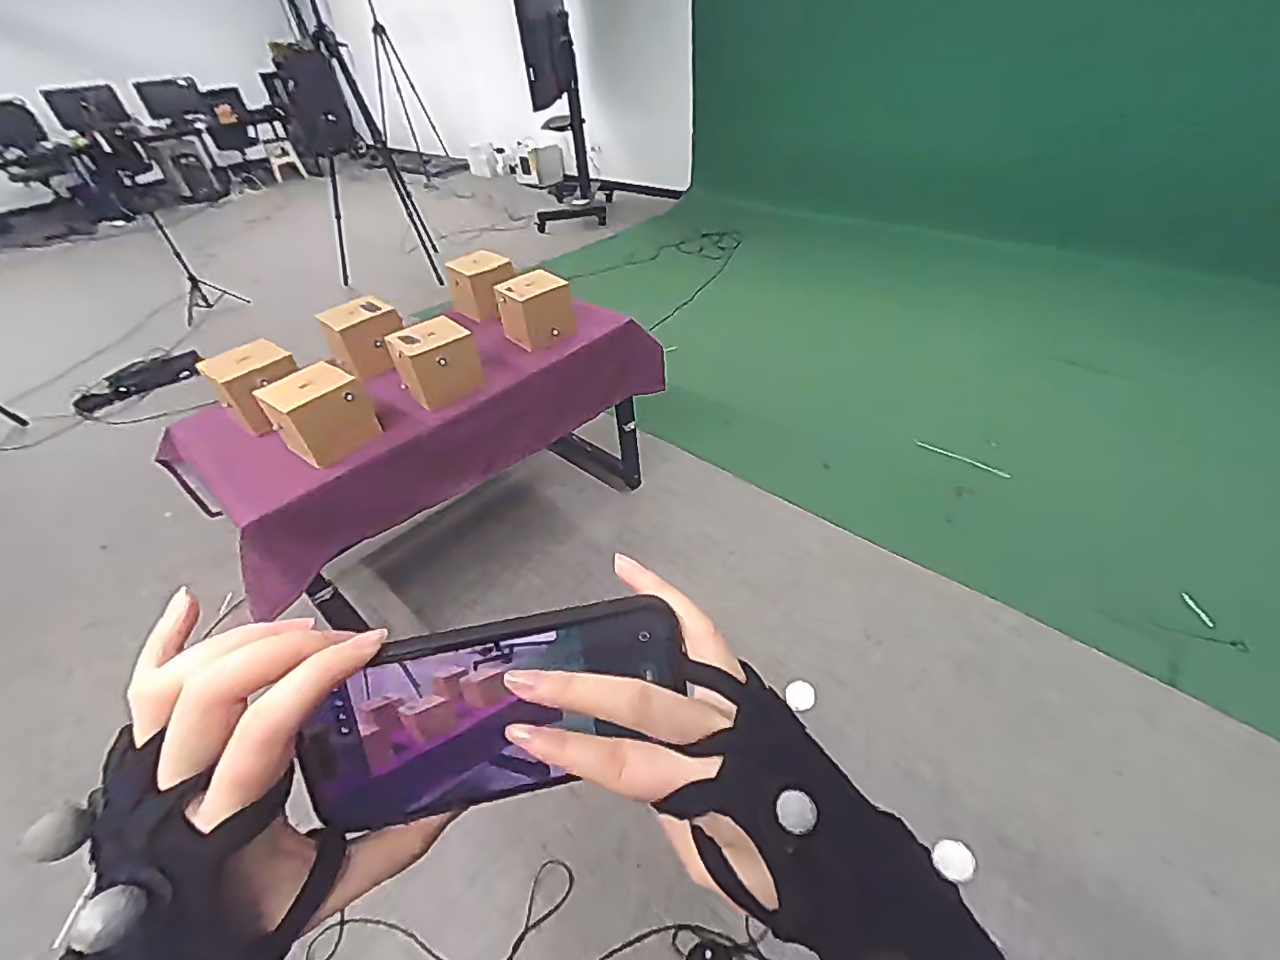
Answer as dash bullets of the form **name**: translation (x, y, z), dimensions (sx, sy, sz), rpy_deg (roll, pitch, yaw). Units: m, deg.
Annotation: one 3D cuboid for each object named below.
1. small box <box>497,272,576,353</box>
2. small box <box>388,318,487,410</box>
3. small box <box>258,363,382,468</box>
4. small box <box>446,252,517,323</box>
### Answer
- **small box**: translation (-0.312, -0.517, 1.670), dimensions (0.179, 0.176, 0.168), rpy_deg (-31, 47, -27)
- **small box**: translation (-0.540, -0.312, 1.461), dimensions (0.179, 0.176, 0.168), rpy_deg (-31, 48, -28)
- **small box**: translation (-0.765, -0.156, 1.308), dimensions (0.168, 0.176, 0.179), rpy_deg (24, 48, 30)
- **small box**: translation (-0.529, -0.657, 1.849), dimensions (0.168, 0.176, 0.179), rpy_deg (-34, 50, -28)
